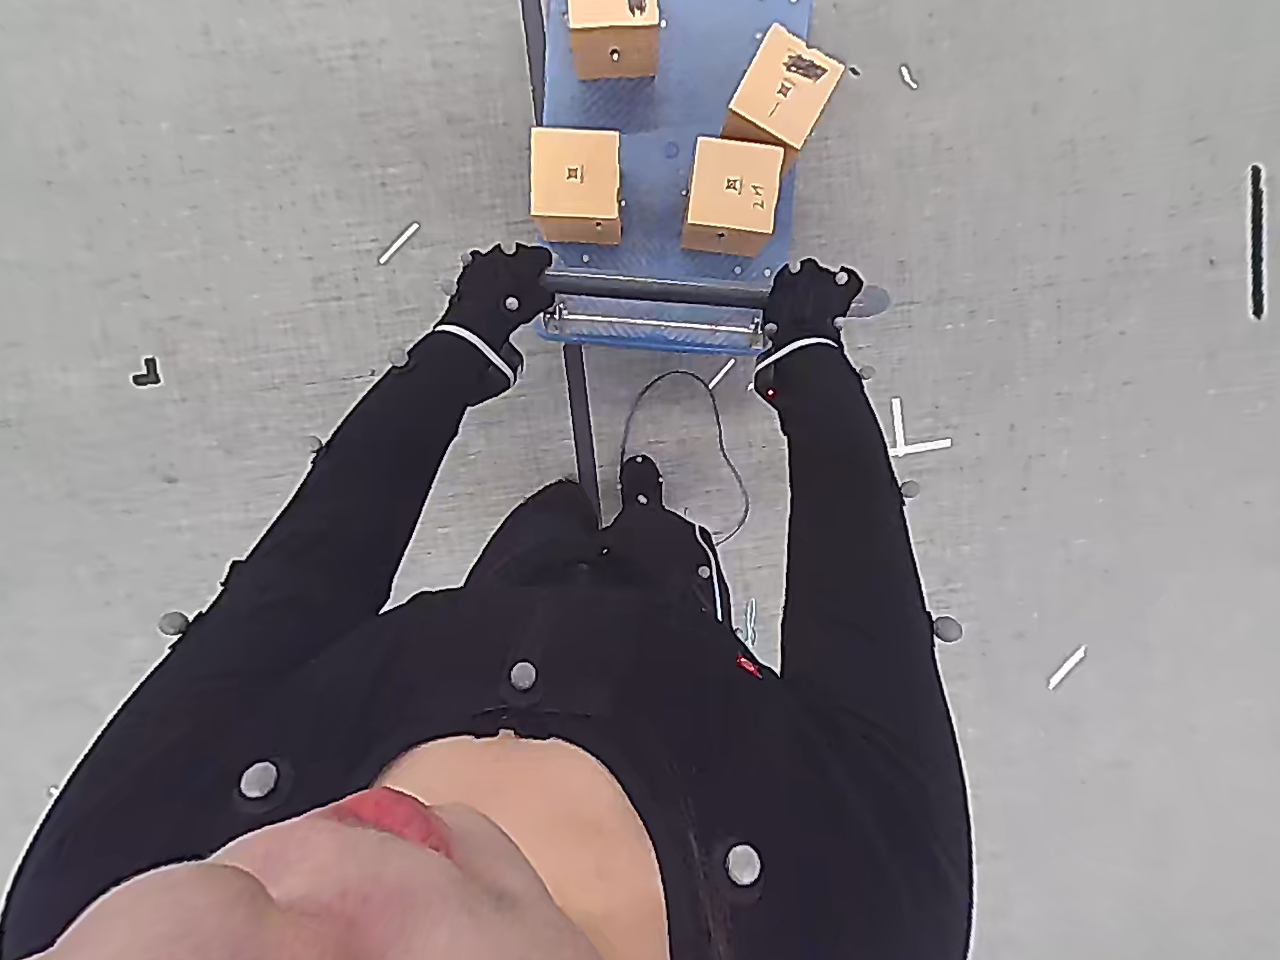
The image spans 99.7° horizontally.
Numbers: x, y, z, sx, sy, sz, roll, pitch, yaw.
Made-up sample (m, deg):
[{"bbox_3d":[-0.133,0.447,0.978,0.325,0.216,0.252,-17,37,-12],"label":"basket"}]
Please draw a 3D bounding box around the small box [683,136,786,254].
[{"bbox_3d":[0.191,-0.592,1.146,0.179,0.176,0.168,7,98,-1],"label":"small box"}]

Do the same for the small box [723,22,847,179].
[{"bbox_3d":[0.287,-0.772,1.123,0.168,0.176,0.179,29,97,-4],"label":"small box"}]

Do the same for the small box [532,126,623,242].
[{"bbox_3d":[-0.126,-0.614,1.142,0.179,0.176,0.168,2,97,-2],"label":"small box"}]
